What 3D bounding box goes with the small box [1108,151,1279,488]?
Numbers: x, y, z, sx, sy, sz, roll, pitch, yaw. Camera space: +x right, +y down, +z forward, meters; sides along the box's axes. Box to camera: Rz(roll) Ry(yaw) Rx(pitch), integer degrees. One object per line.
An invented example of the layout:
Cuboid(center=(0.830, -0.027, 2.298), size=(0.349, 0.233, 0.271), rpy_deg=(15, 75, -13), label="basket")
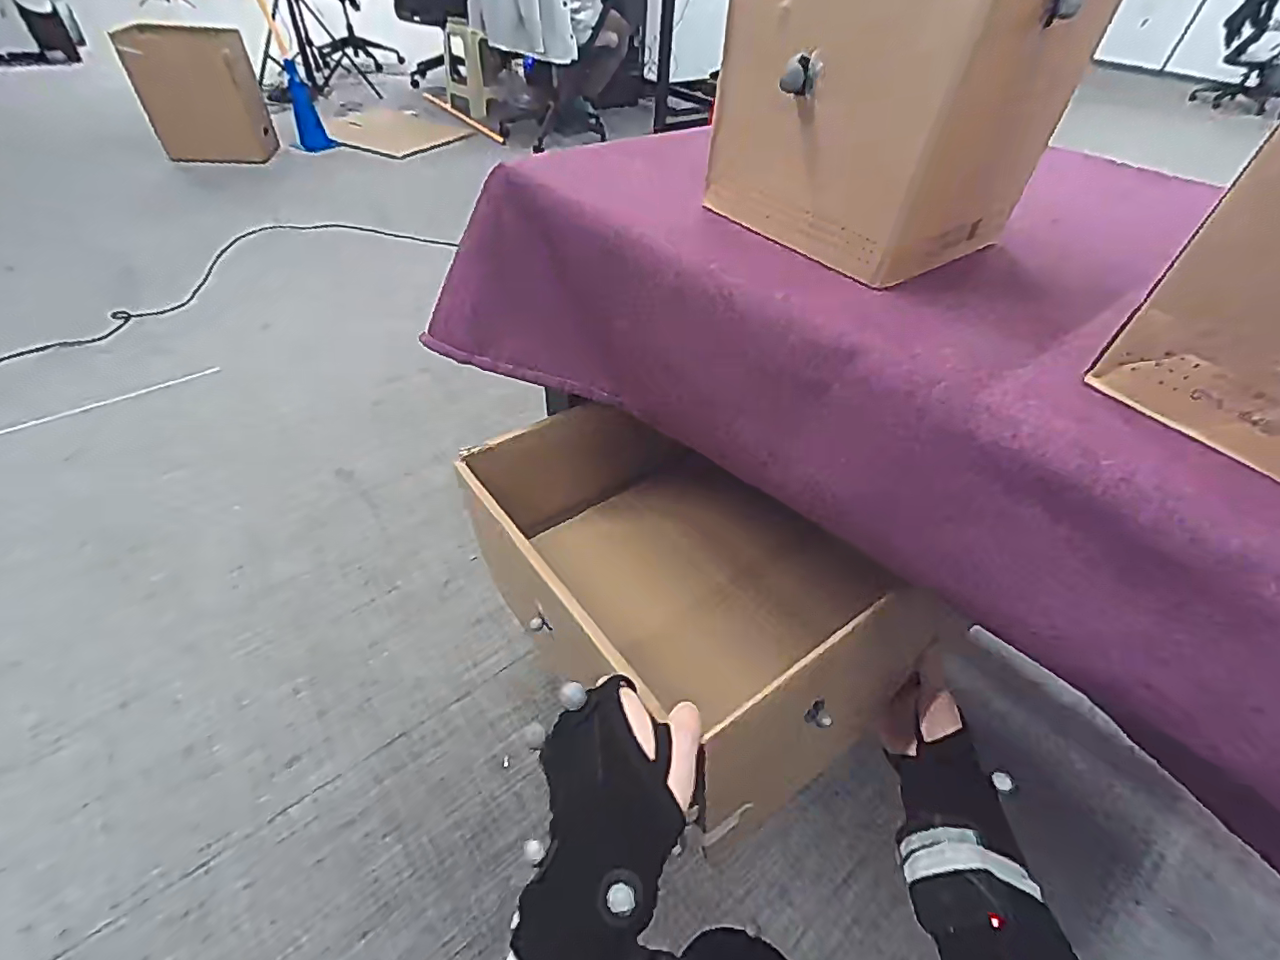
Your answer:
Cuboid(center=(0.359, -0.087, 0.225), size=(0.179, 0.176, 0.168), rpy_deg=(-24, 52, -24), label="small box")
